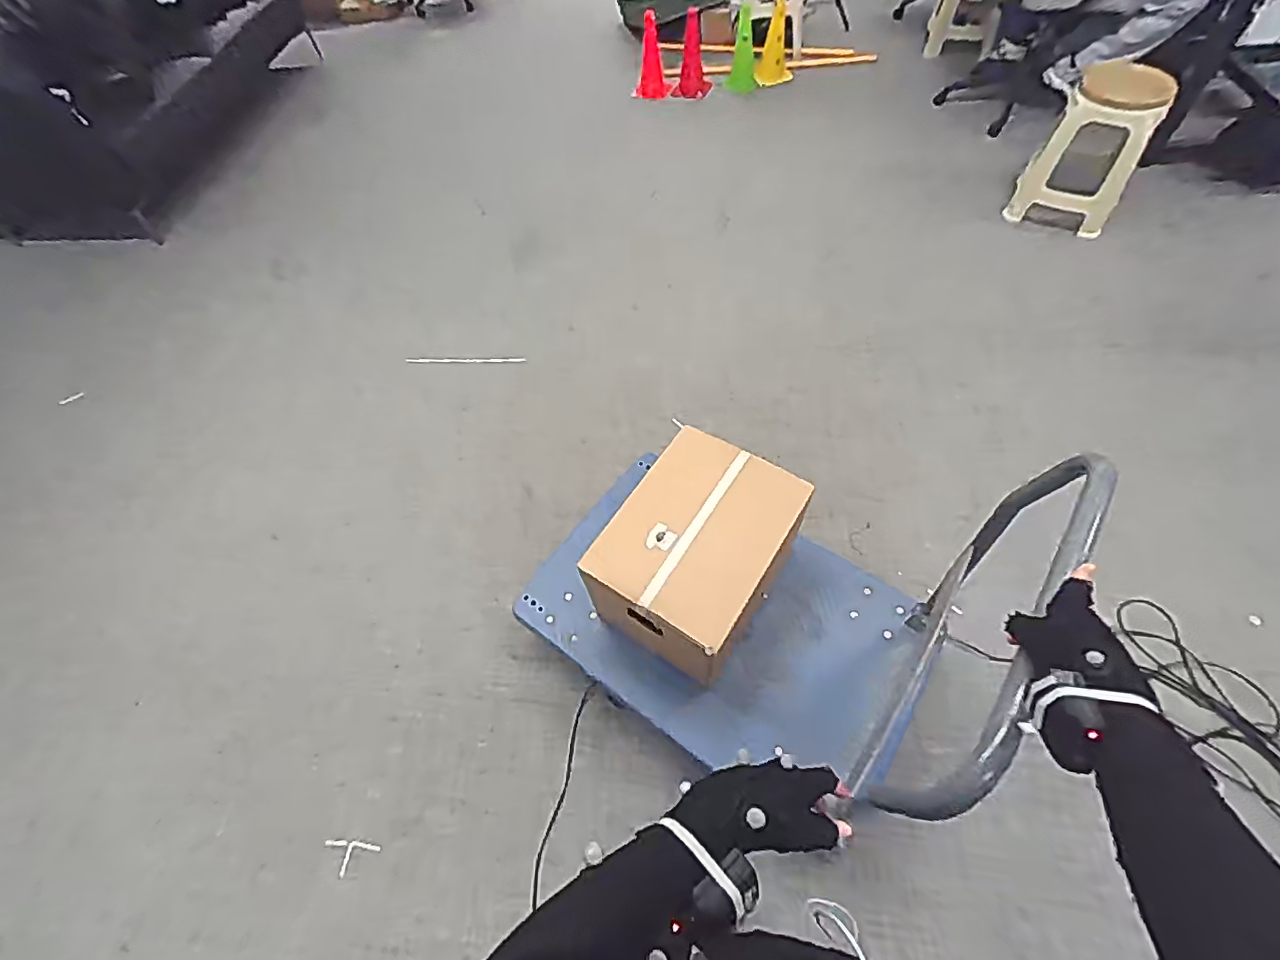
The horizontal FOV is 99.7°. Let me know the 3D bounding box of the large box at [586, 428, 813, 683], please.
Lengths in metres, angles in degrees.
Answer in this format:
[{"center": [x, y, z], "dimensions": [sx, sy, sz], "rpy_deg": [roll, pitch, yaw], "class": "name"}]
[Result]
[{"center": [0.135, 0.169, 1.207], "dimensions": [0.320, 0.320, 0.408], "rpy_deg": [28, 65, 21], "class": "large box"}]
